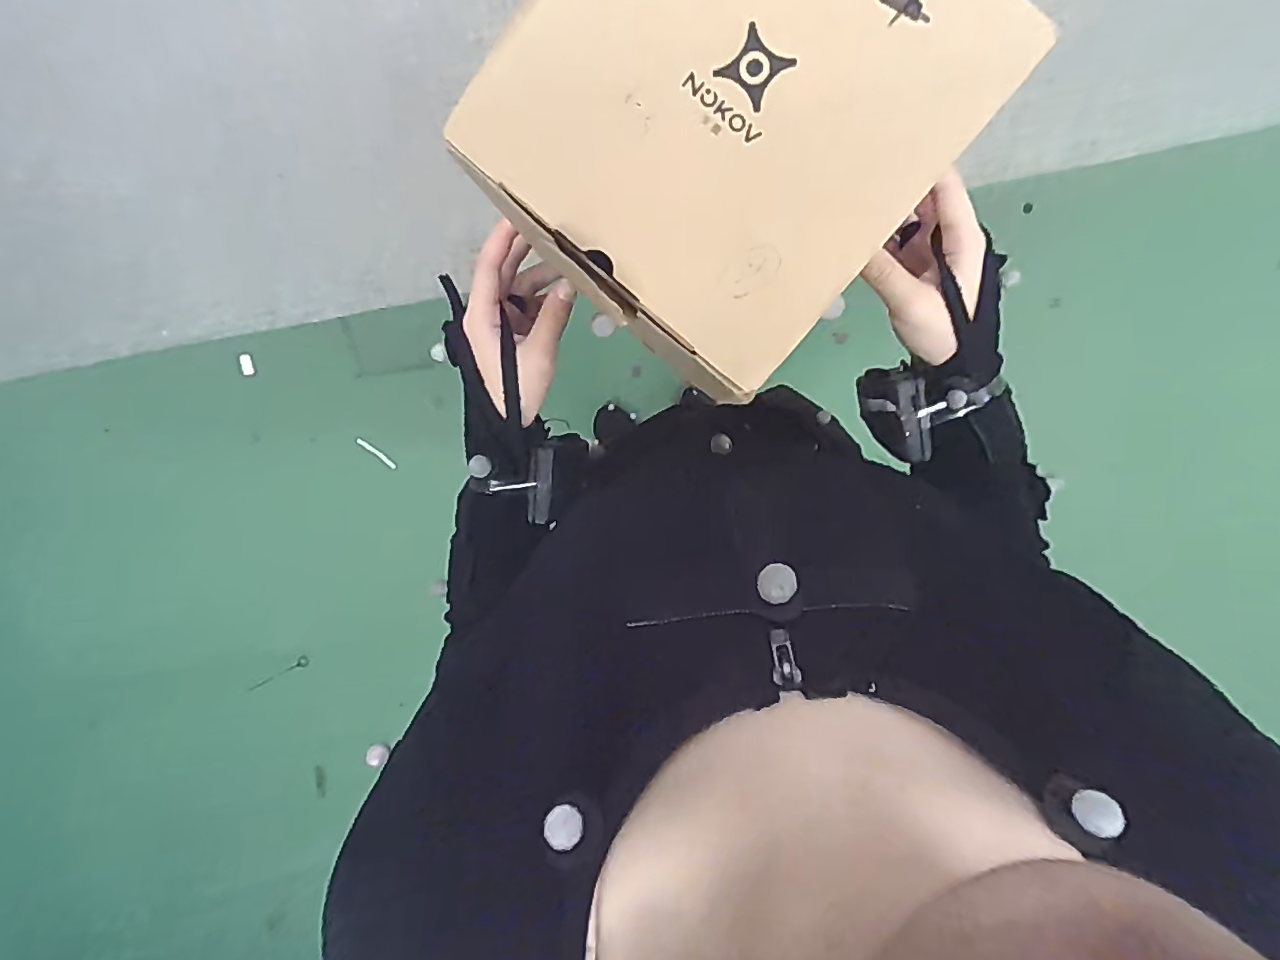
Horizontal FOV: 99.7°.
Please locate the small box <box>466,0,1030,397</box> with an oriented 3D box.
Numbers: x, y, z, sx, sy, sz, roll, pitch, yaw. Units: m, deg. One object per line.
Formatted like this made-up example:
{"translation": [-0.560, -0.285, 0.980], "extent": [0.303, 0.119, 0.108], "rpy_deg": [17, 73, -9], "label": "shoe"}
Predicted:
{"translation": [0.045, -0.161, 0.301], "extent": [0.168, 0.176, 0.179], "rpy_deg": [40, 98, -2], "label": "small box"}
